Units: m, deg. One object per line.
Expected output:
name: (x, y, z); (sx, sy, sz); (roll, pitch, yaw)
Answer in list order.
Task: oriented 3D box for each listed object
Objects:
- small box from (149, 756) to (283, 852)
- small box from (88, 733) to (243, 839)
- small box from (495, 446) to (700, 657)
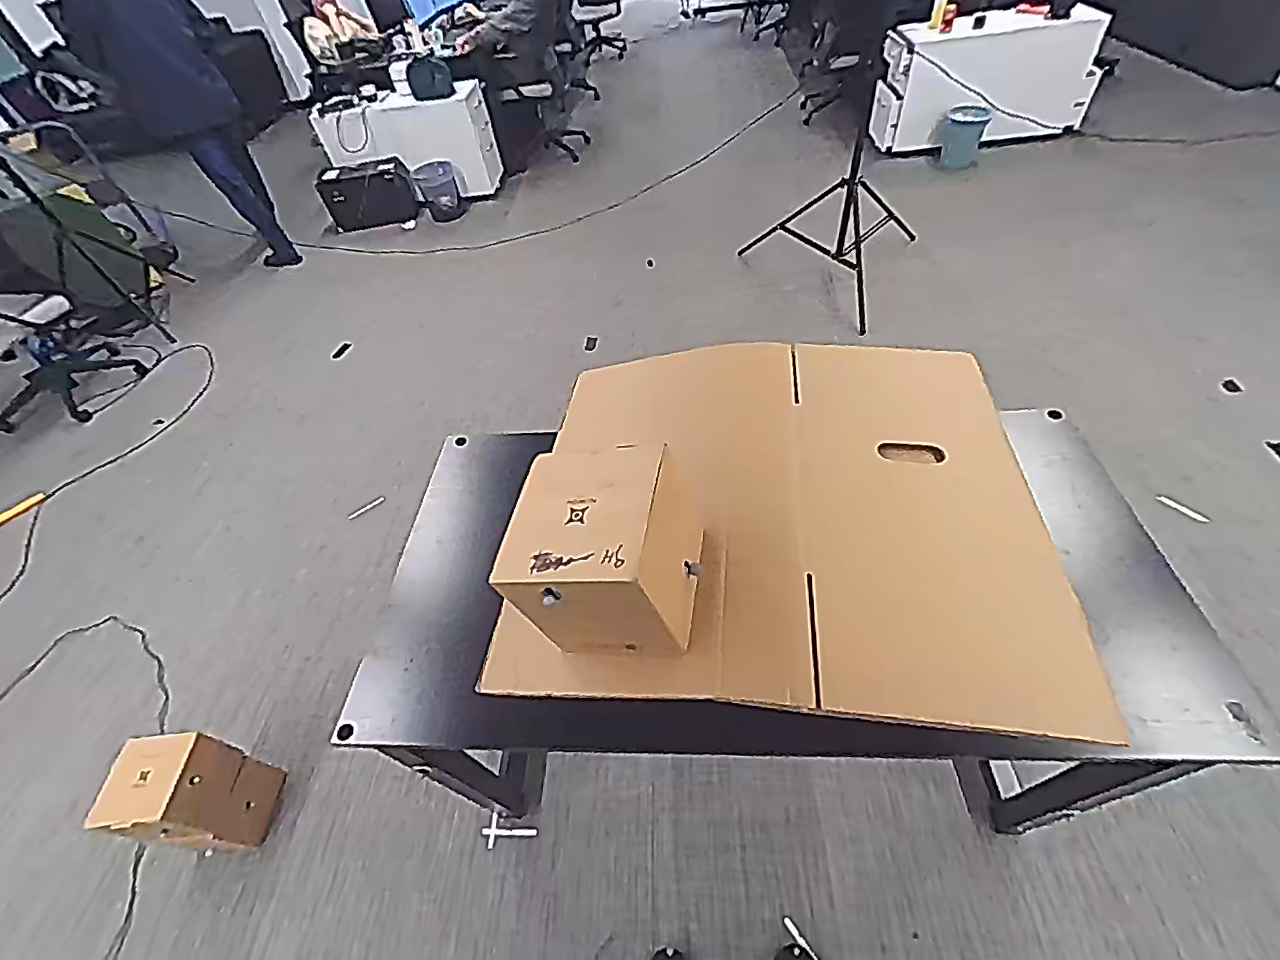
small box: (-1.028, 0.802, 1.335); (0.168, 0.176, 0.179); (-5, 50, 4)
small box: (-1.047, 0.693, 1.216); (0.168, 0.176, 0.179); (-7, 48, 1)
small box: (-0.034, 0.085, 0.631); (0.168, 0.176, 0.179); (-5, 48, 22)
